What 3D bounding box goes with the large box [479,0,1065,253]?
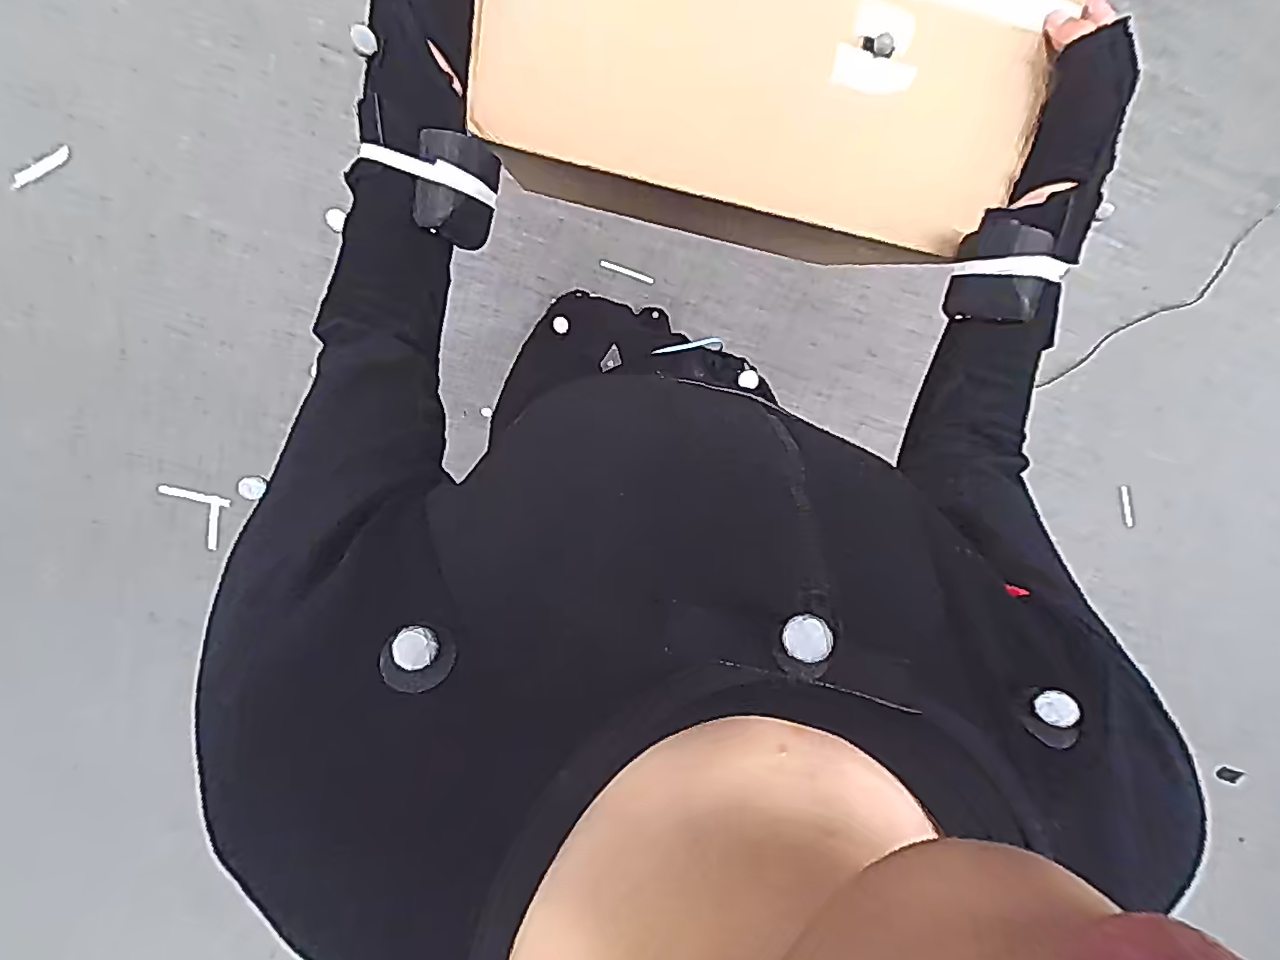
[{"bbox_3d":[0.091,-0.413,0.497,0.408,0.320,0.320,9,112,-10],"label":"large box"}]
